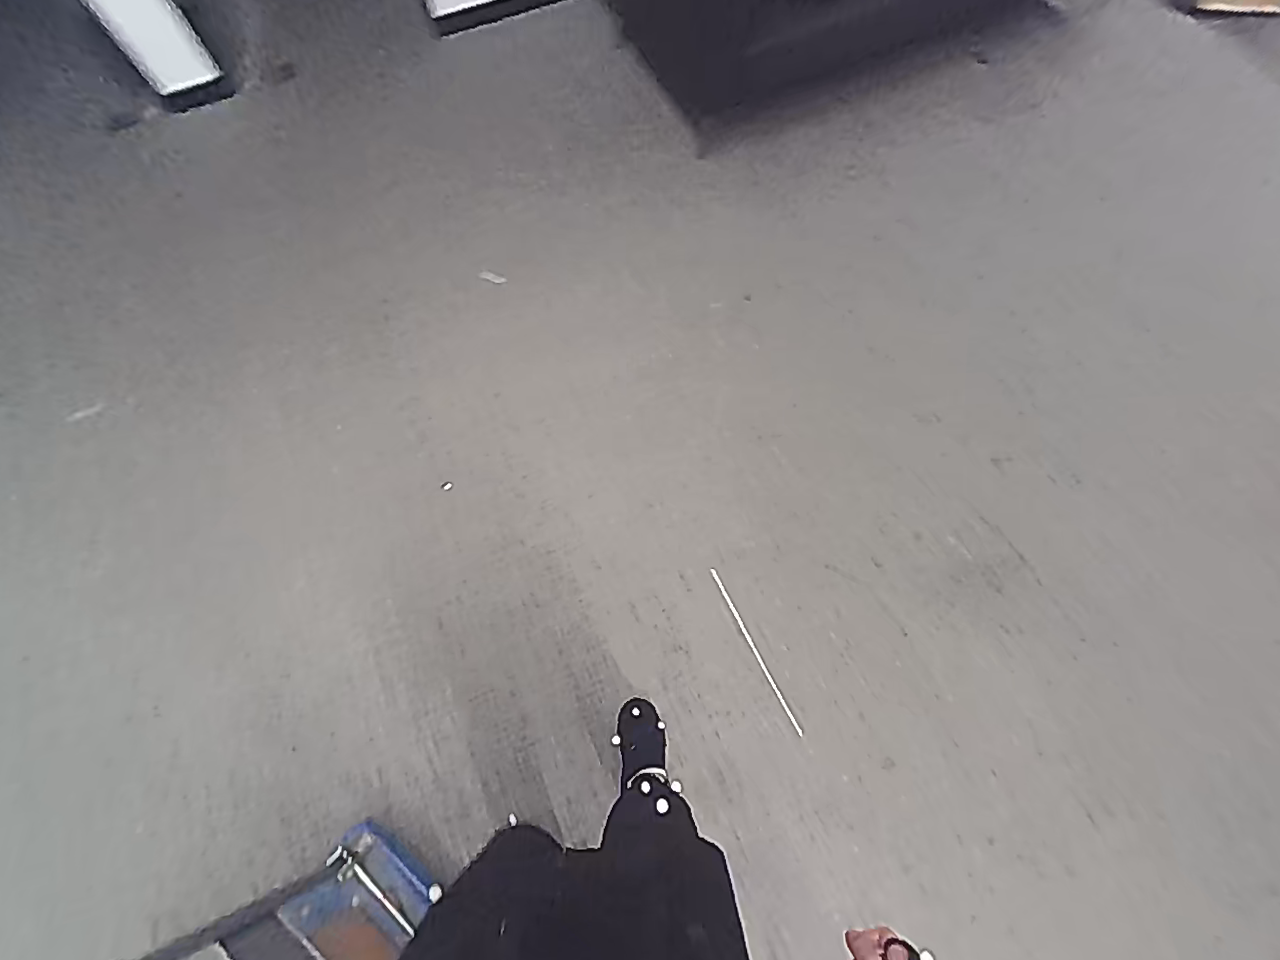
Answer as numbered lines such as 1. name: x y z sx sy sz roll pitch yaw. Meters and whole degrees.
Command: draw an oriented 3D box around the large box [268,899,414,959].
1. large box: -0.592 1.042 0.897 0.320 0.320 0.408 36 74 14
